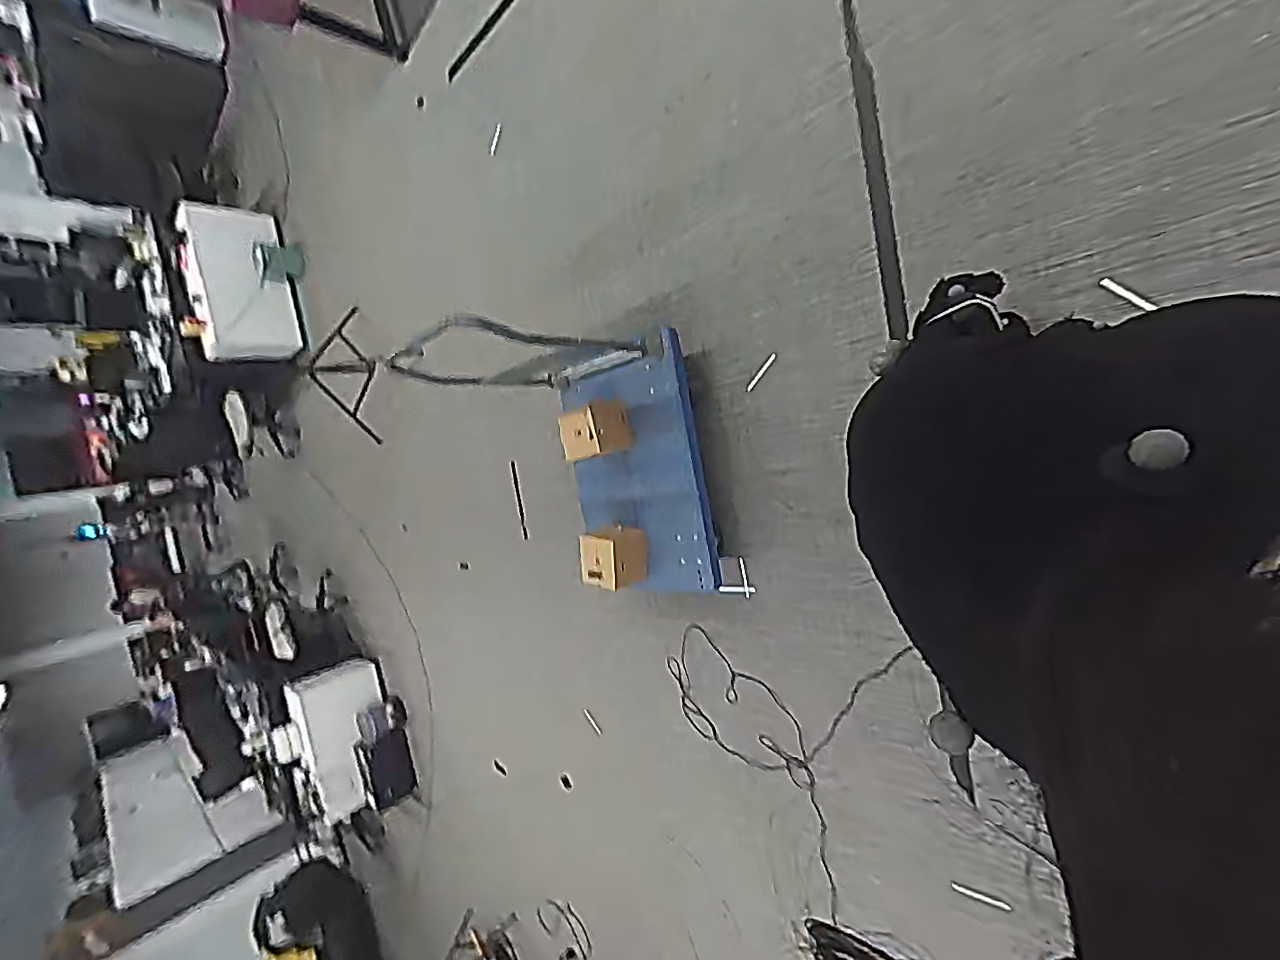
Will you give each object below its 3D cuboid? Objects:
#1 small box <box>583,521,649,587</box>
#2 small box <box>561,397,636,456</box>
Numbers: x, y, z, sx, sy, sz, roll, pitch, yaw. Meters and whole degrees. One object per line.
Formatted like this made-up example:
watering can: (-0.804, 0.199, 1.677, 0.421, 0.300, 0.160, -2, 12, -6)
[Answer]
small box: (-0.079, 0.255, 1.902, 0.168, 0.176, 0.179, 6, 102, 42)
small box: (-0.141, -0.184, 1.862, 0.179, 0.176, 0.168, -13, 91, 45)
